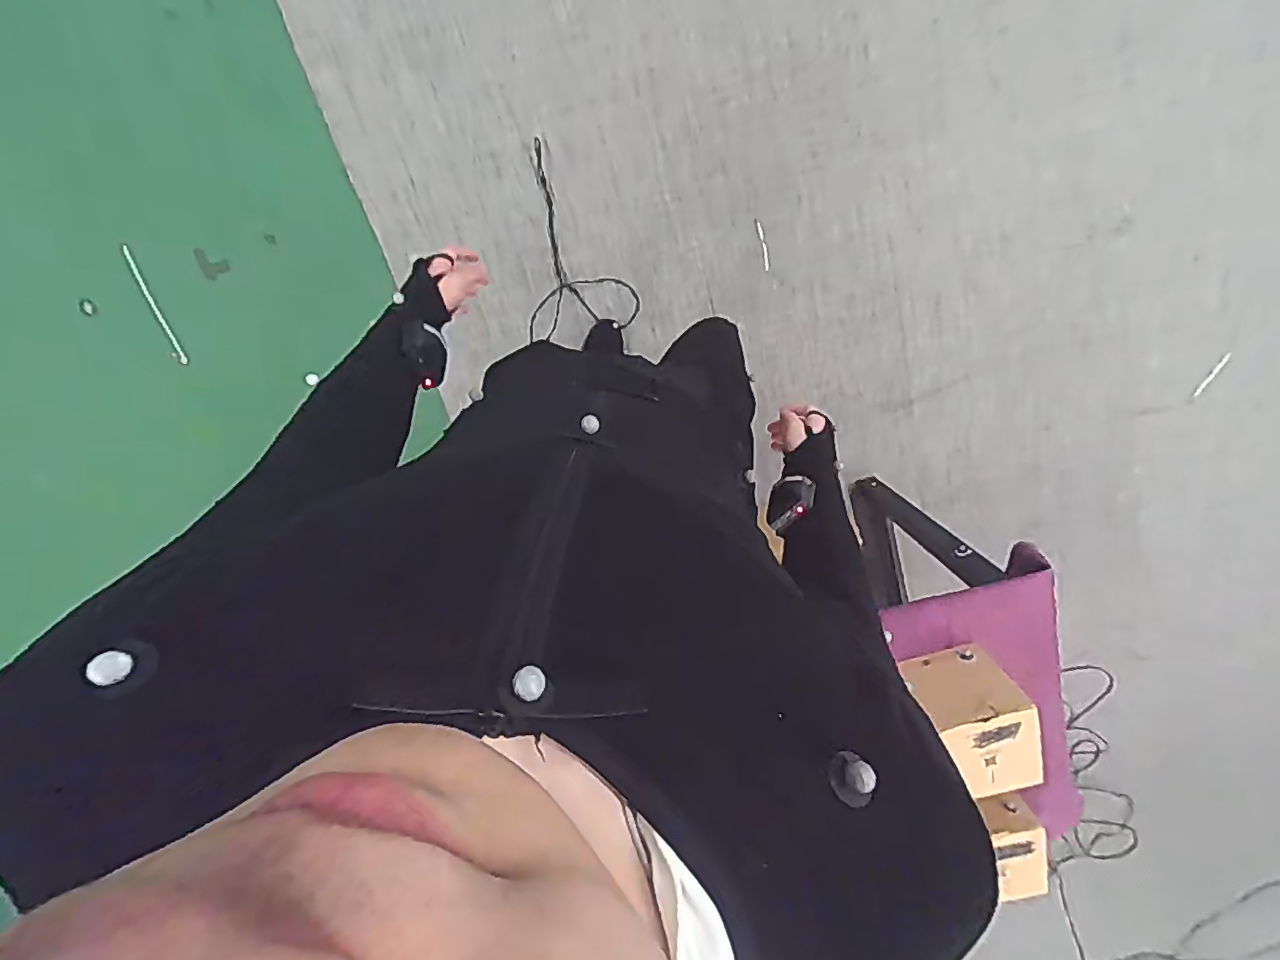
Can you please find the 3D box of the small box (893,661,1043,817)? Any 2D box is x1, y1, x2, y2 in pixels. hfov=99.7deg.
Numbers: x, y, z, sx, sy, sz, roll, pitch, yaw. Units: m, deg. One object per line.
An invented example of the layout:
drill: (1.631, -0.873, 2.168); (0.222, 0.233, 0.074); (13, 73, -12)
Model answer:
small box: (0.573, 0.446, 0.961); (0.168, 0.176, 0.179); (-17, 110, 5)
